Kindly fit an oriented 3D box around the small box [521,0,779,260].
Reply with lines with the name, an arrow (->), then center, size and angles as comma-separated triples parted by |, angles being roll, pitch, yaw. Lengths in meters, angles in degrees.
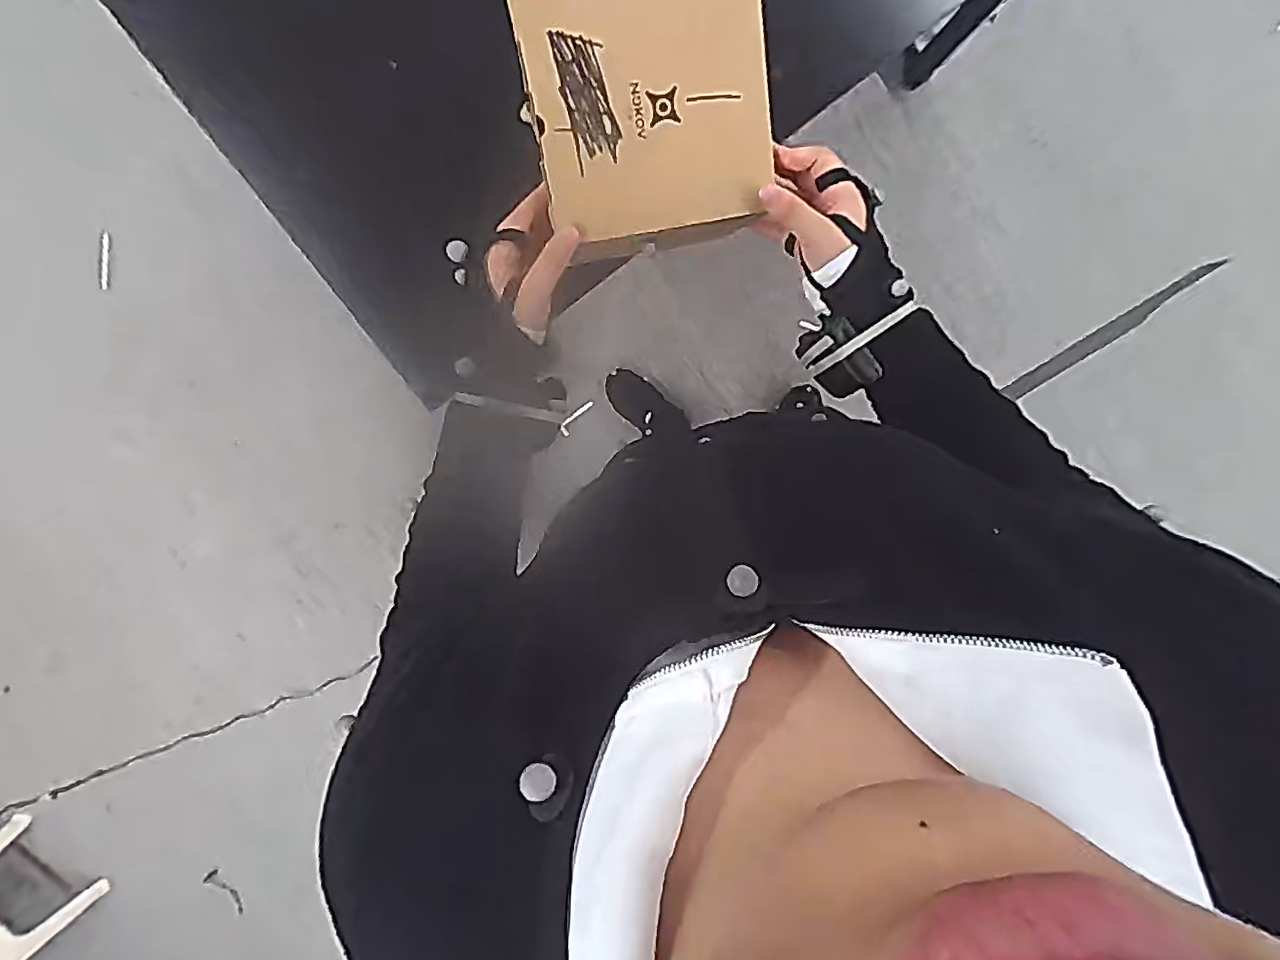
small box -> 0.007, -0.298, 0.475 | 0.179, 0.176, 0.168 | -10, 108, -3
